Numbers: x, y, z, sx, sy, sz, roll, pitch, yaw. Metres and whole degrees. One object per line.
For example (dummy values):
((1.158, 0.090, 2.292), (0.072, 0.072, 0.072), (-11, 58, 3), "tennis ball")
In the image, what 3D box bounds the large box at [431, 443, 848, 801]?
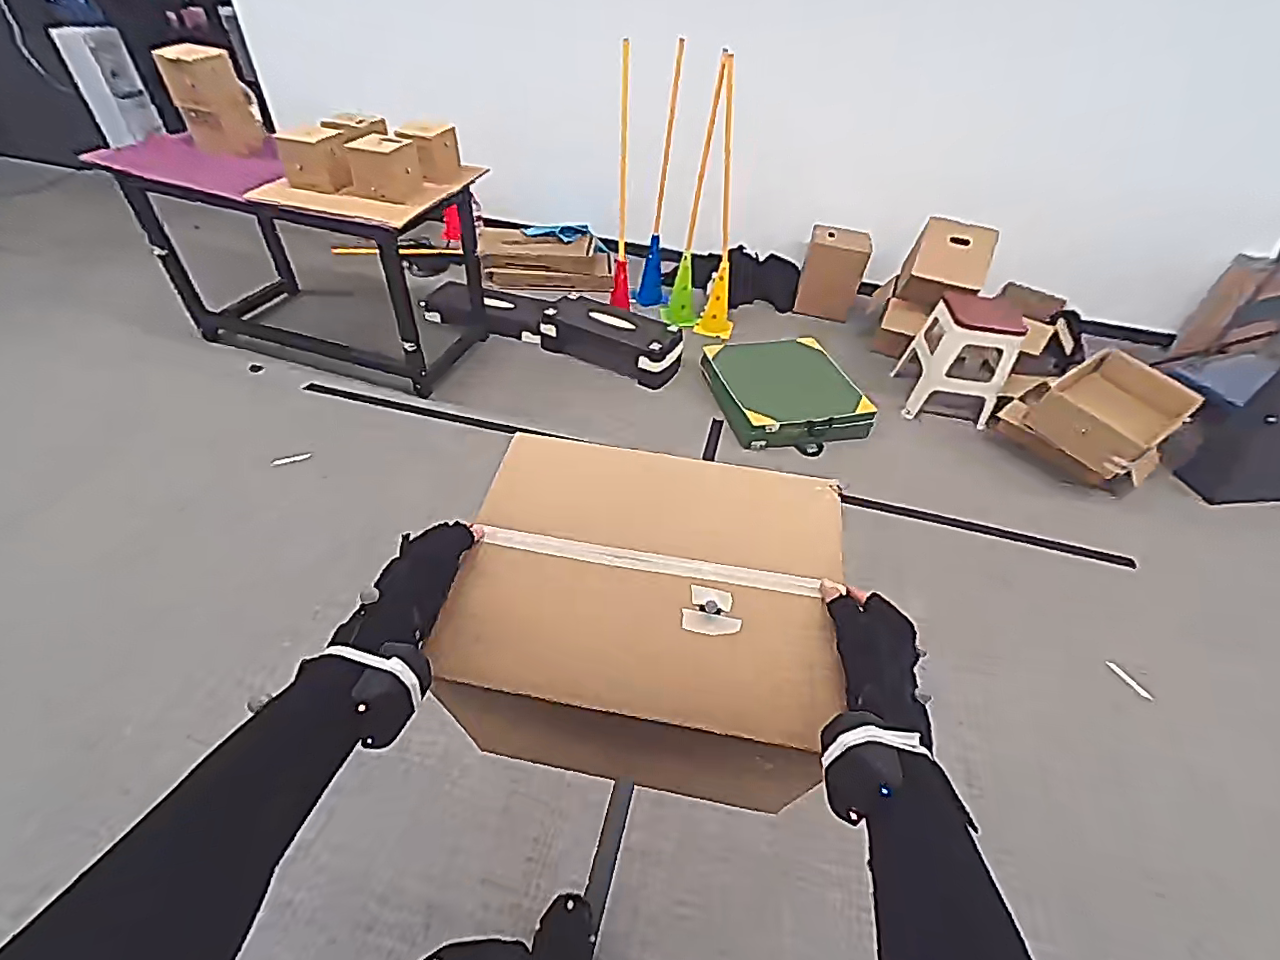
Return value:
((0.010, 0.188, 0.709), (0.408, 0.320, 0.320), (9, 51, 5), "large box")
